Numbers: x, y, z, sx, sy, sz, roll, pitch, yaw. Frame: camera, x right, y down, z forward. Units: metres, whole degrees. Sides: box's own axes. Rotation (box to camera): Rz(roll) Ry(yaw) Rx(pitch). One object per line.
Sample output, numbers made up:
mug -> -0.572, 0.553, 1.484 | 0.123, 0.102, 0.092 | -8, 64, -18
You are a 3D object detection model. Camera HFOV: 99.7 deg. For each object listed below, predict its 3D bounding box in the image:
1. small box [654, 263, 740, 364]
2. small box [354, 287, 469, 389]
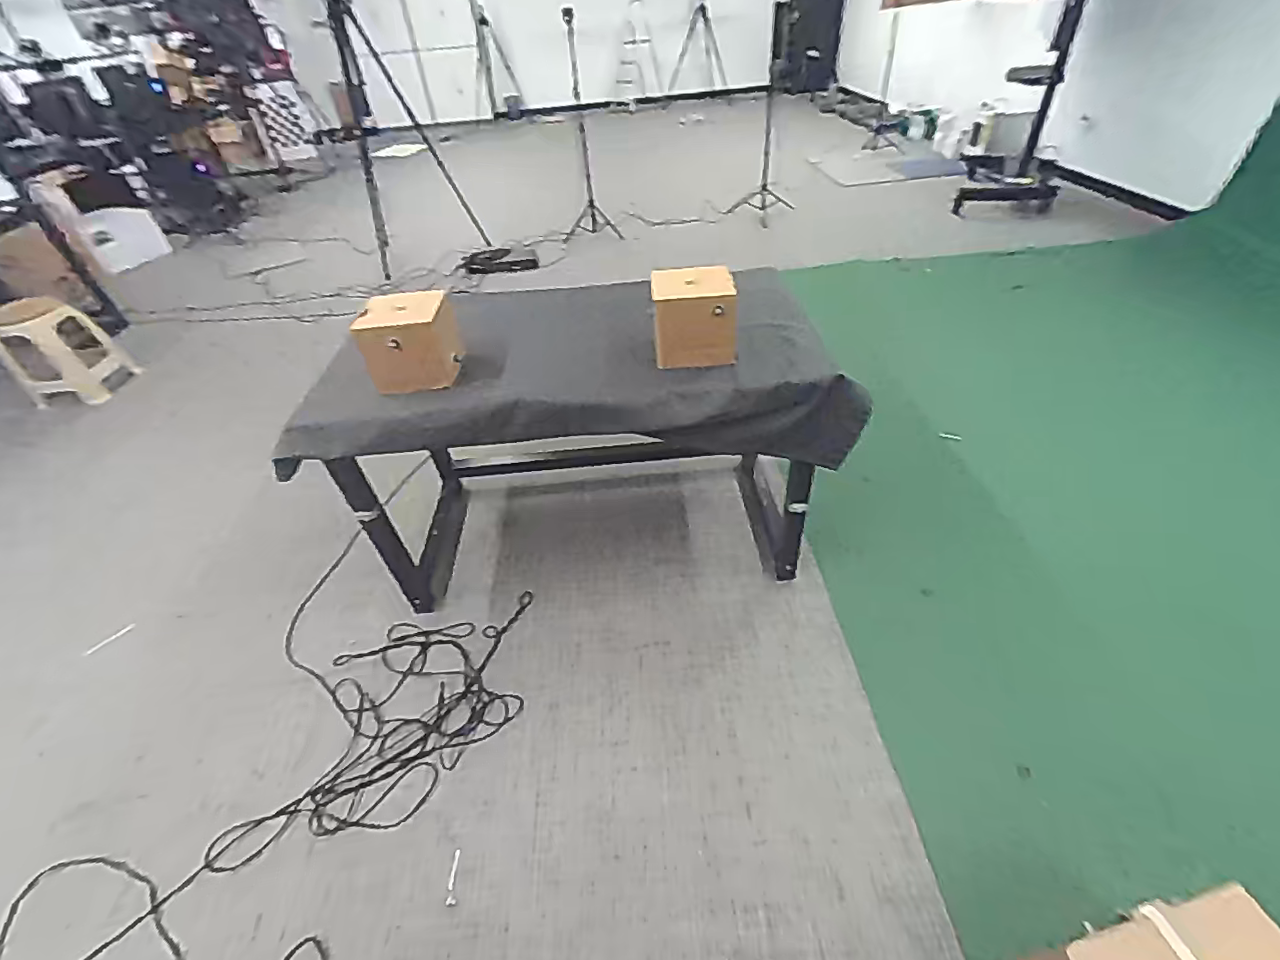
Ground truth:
small box -> 0.127, -0.375, 1.228 | 0.179, 0.176, 0.168 | -4, 42, 2
small box -> -0.513, -0.323, 1.243 | 0.179, 0.176, 0.168 | -5, 43, -1
